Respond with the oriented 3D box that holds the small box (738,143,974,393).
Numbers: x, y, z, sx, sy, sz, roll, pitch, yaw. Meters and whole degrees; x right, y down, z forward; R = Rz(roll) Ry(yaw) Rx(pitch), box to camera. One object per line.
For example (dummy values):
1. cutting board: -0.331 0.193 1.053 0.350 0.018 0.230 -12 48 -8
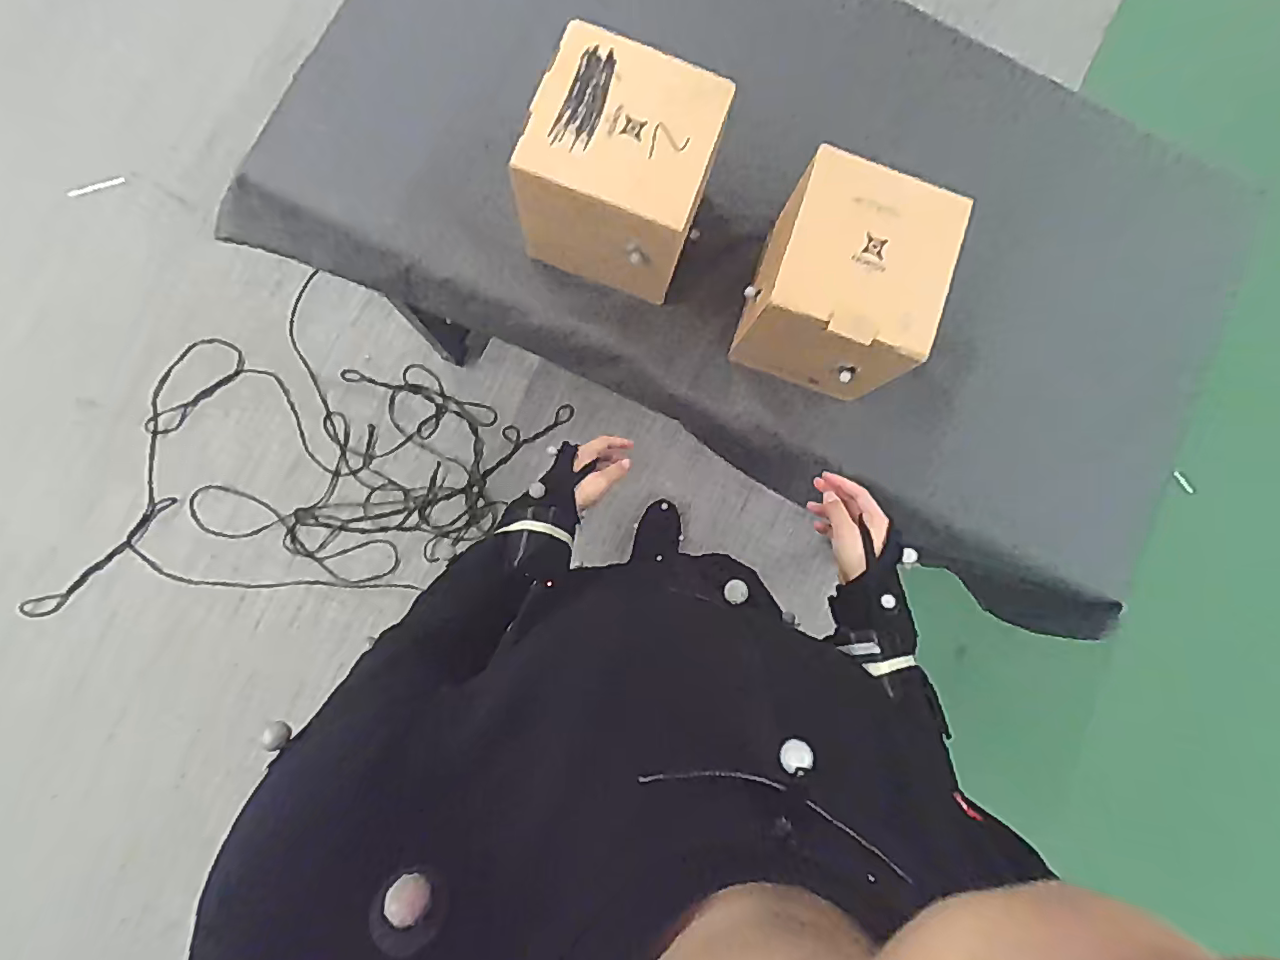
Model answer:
1. small box: 0.221 -0.215 0.600 0.168 0.176 0.179 19 82 -3
